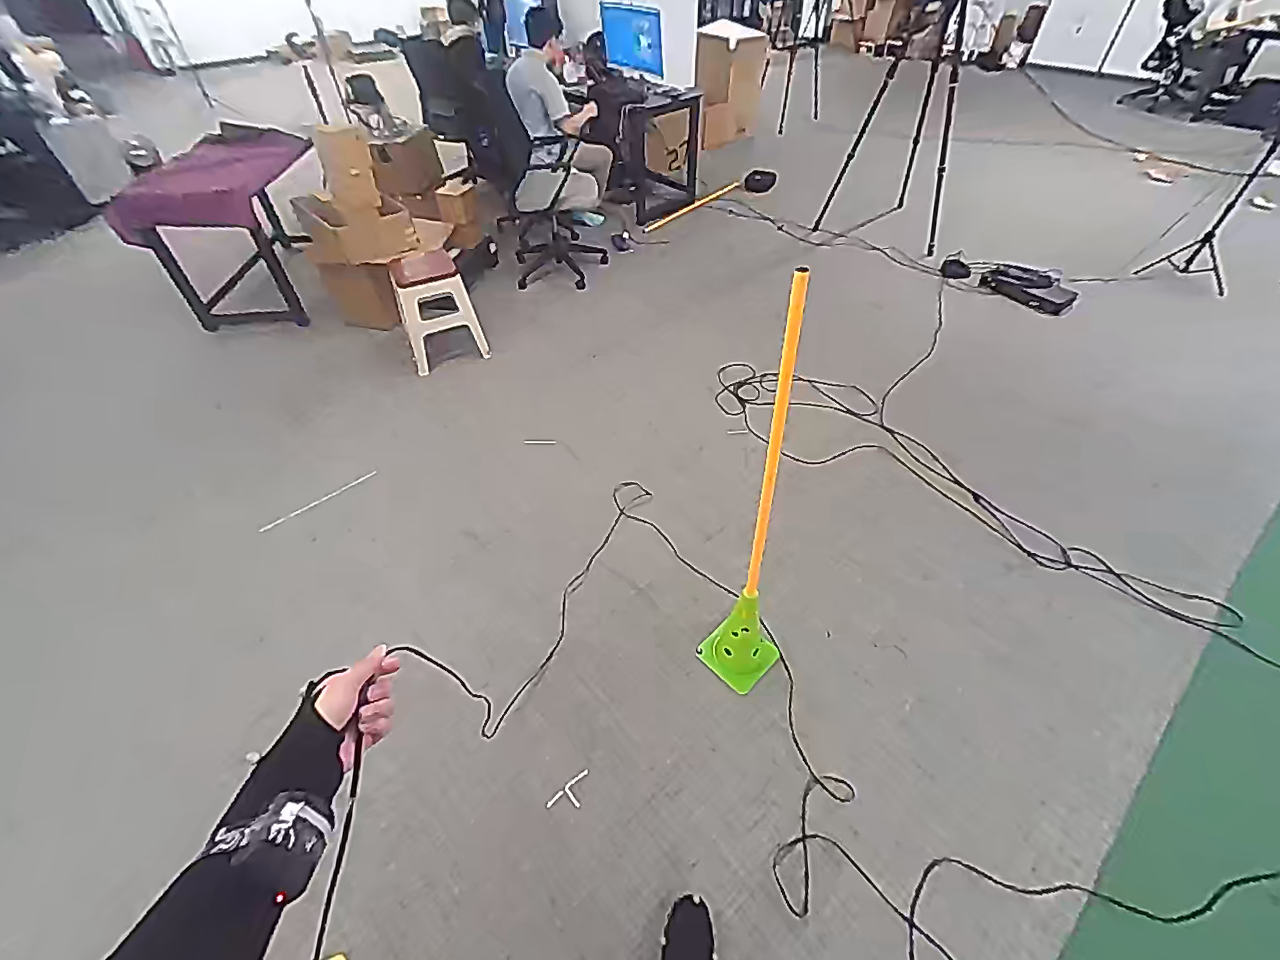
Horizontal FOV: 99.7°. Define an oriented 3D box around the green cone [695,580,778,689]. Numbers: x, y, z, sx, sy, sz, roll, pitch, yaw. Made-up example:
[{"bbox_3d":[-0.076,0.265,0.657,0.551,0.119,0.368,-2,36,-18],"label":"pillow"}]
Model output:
[{"bbox_3d":[0.301,0.410,1.569,0.202,0.368,0.200,-35,55,-29],"label":"green cone"}]
